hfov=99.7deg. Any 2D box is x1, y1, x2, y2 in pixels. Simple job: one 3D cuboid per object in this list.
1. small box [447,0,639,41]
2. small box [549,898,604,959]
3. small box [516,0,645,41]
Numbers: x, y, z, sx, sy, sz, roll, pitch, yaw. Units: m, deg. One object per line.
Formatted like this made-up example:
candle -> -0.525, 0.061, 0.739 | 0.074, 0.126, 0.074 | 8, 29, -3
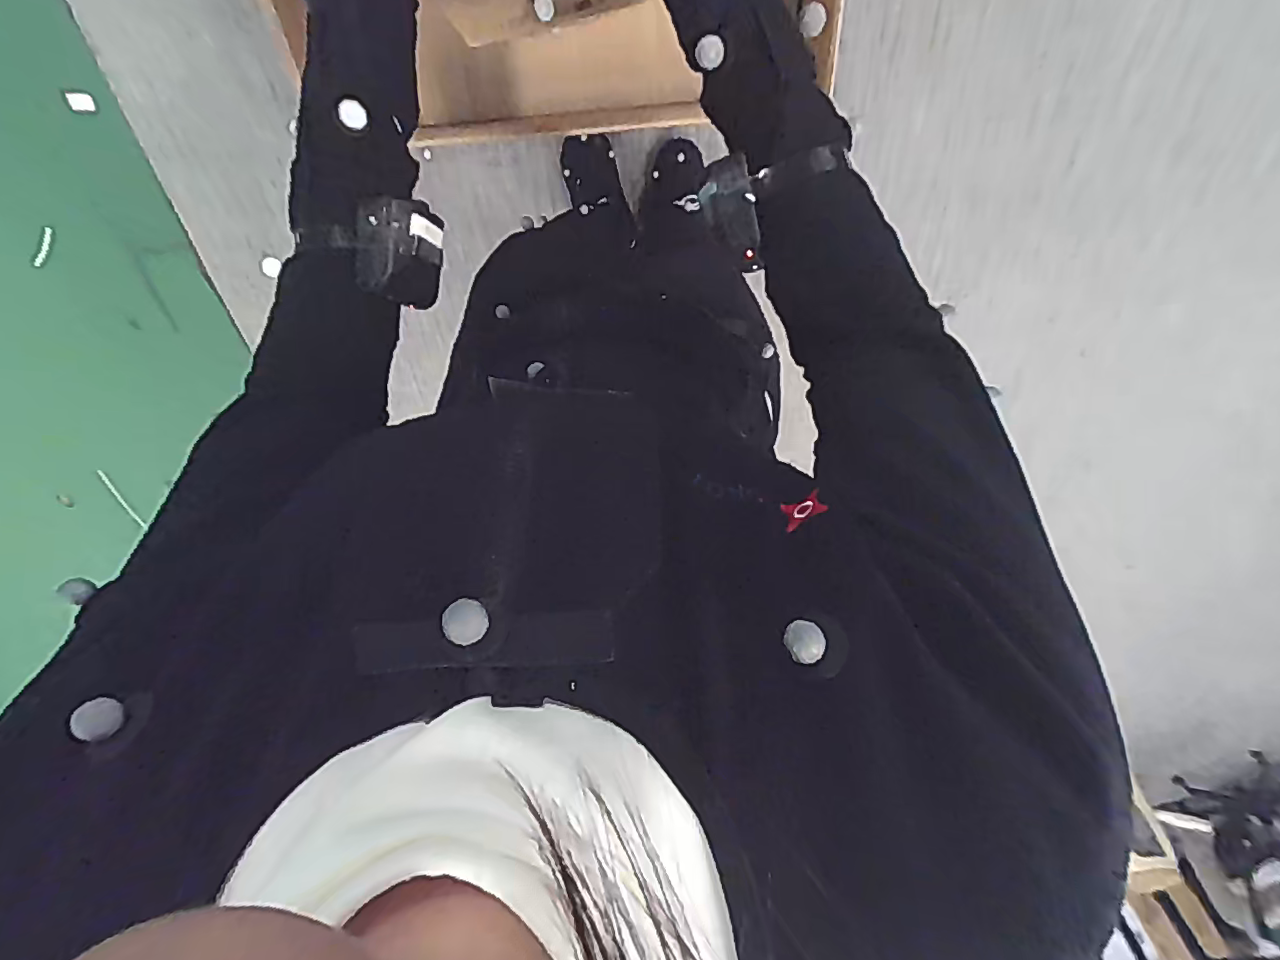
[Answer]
small box -> -0.087, -0.440, 0.350 | 0.168, 0.176, 0.179 | -8, 107, 8
small box -> -0.221, 1.625, 1.937 | 0.168, 0.176, 0.179 | -6, 127, 3
small box -> -0.090, -0.599, 0.576 | 0.168, 0.176, 0.179 | -8, 126, 8
